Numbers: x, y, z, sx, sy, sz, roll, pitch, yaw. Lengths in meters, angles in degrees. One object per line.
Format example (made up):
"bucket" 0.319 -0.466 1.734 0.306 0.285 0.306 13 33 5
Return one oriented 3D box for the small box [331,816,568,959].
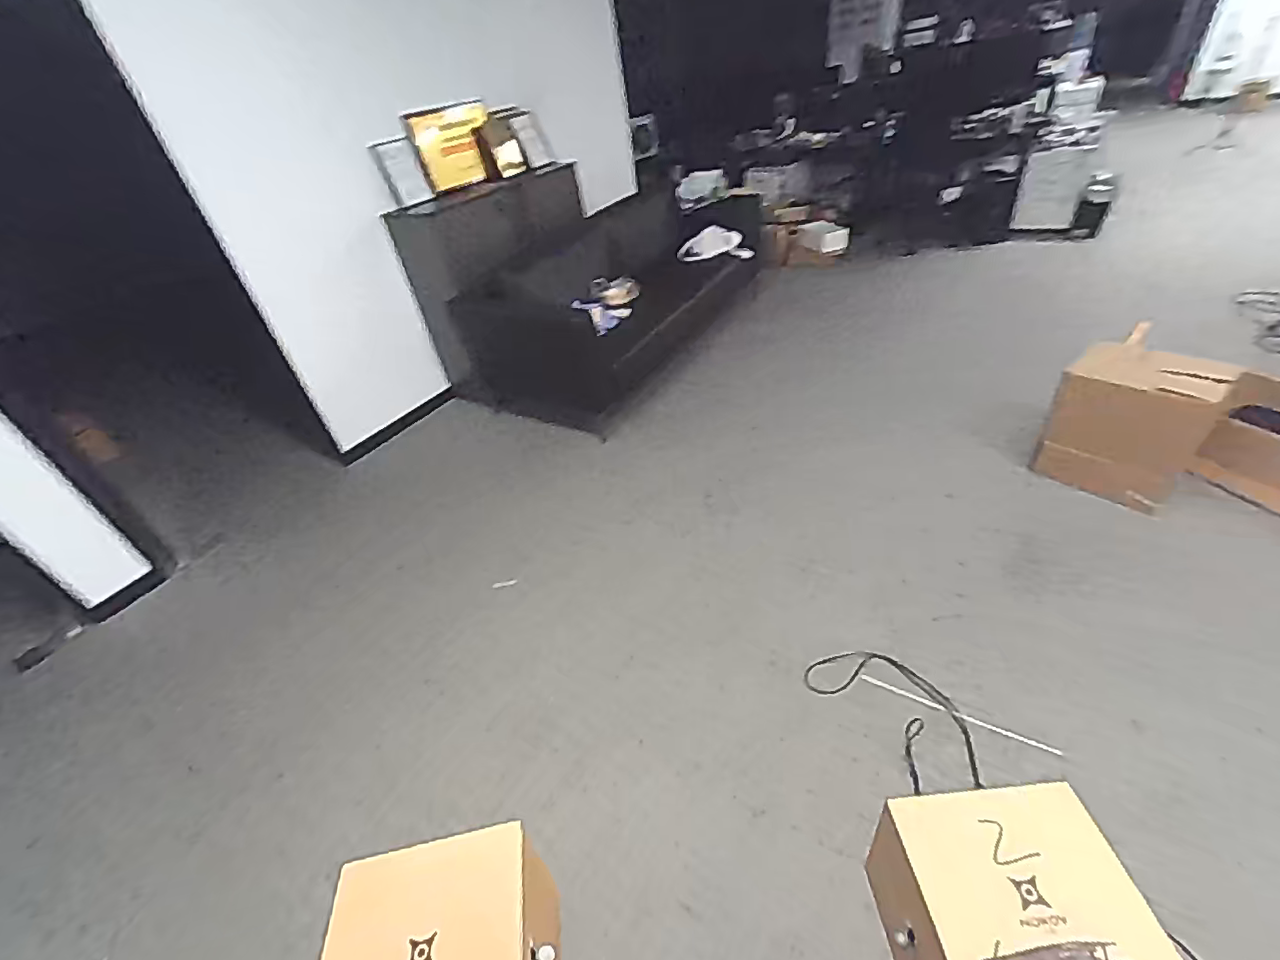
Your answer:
"small box" -0.160 0.443 0.482 0.168 0.176 0.179 -10 36 -4
